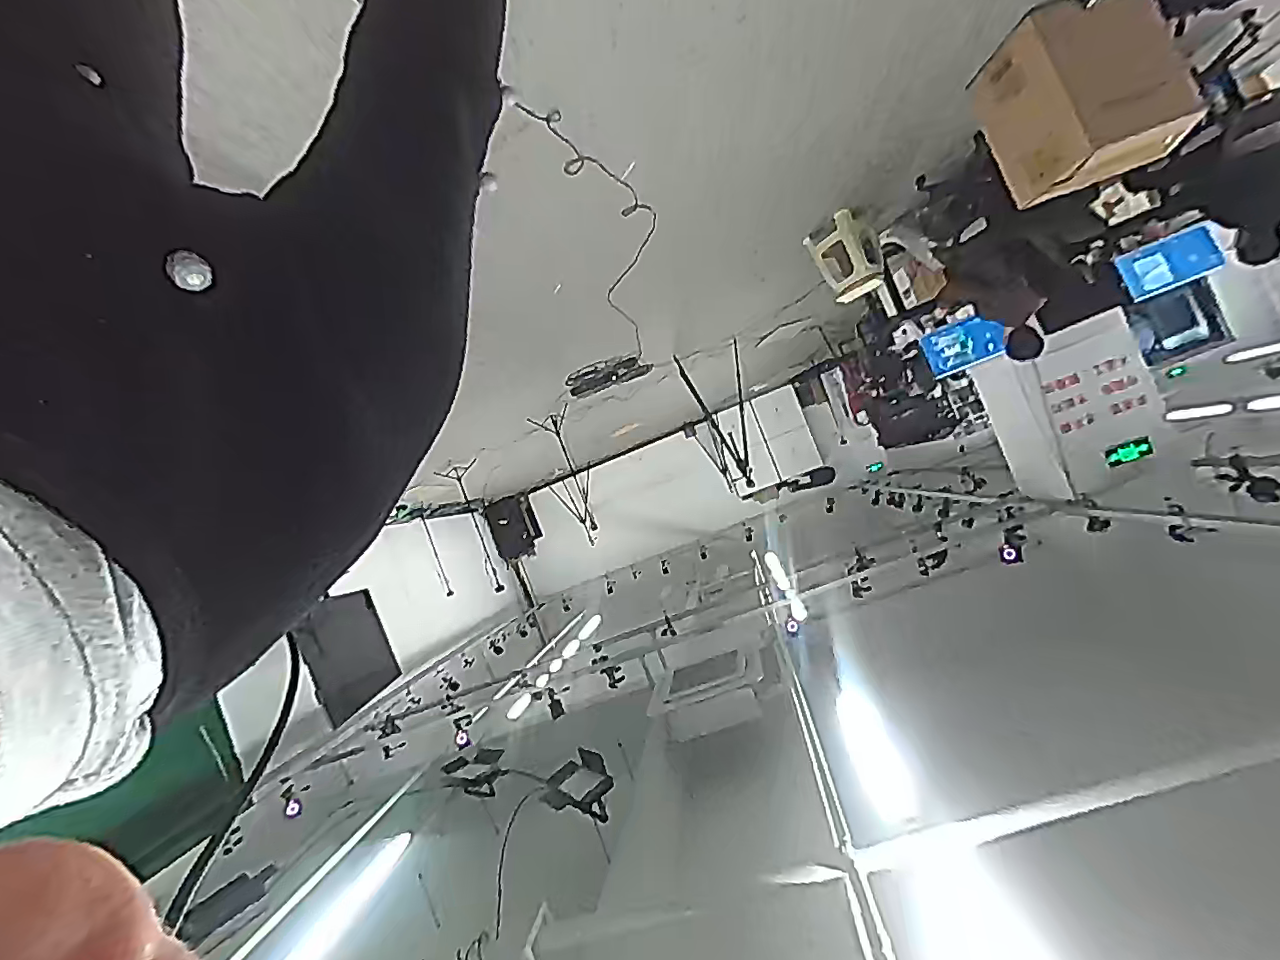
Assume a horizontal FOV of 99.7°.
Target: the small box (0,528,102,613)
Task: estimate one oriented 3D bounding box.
[{"bbox_3d":[-1.561,0.227,1.383,0.168,0.176,0.179,-23,176,3],"label":"small box"}]
